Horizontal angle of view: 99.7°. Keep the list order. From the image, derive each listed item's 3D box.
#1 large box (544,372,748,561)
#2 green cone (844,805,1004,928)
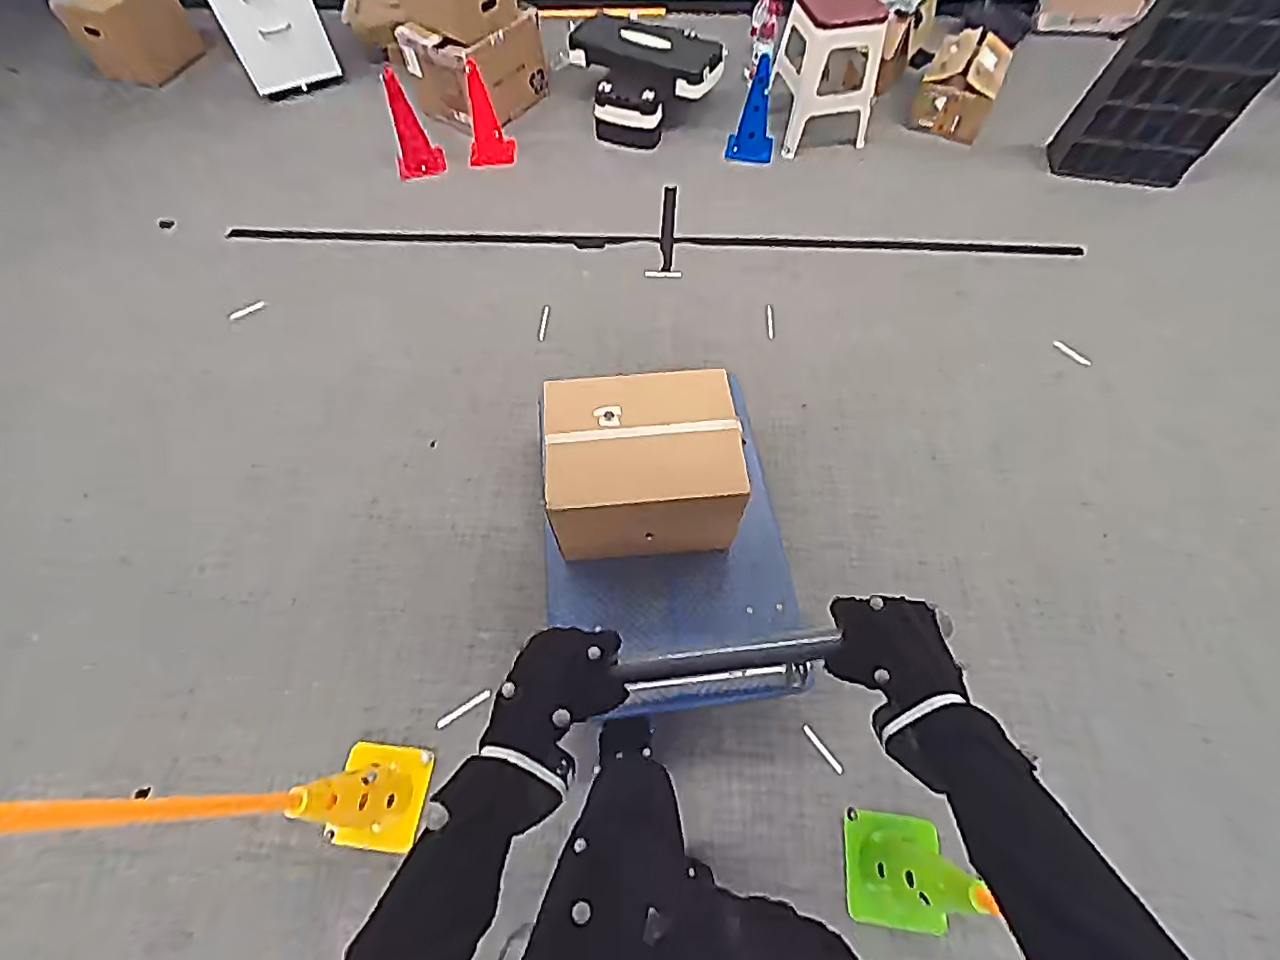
[{"bbox_3d":[0.007,-0.018,1.255,0.408,0.320,0.320,-5,63,-1],"label":"large box"},{"bbox_3d":[0.542,0.737,1.001,0.202,0.368,0.200,7,62,3],"label":"green cone"}]
